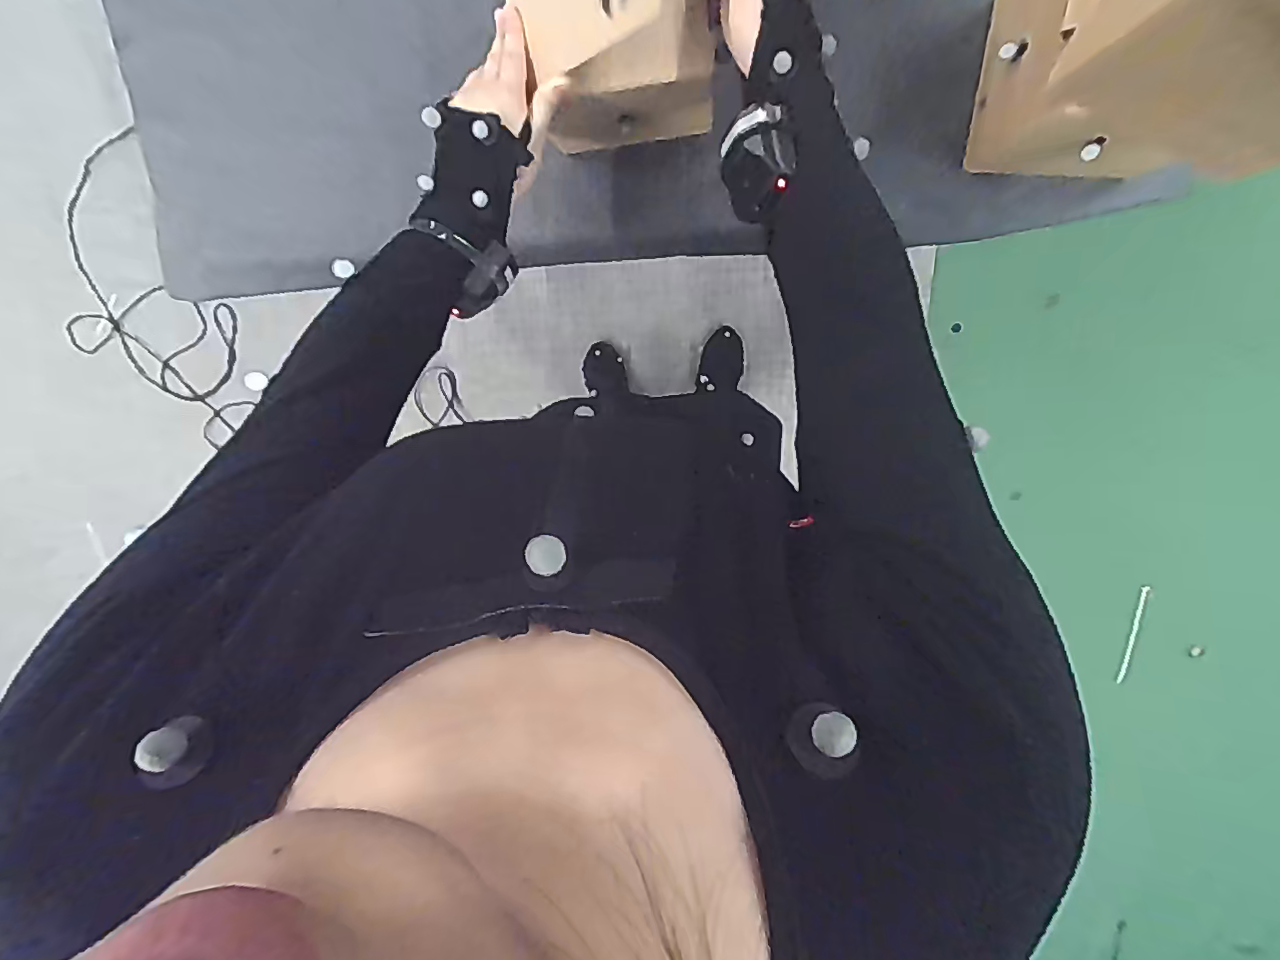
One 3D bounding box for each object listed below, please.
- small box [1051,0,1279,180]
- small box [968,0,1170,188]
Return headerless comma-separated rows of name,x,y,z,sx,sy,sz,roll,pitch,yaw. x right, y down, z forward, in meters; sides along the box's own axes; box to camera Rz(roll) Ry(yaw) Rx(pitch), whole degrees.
small box,0.425,-0.322,0.342,0.179,0.176,0.168,25,106,-2
small box,0.437,-0.380,0.495,0.179,0.176,0.168,5,105,5
